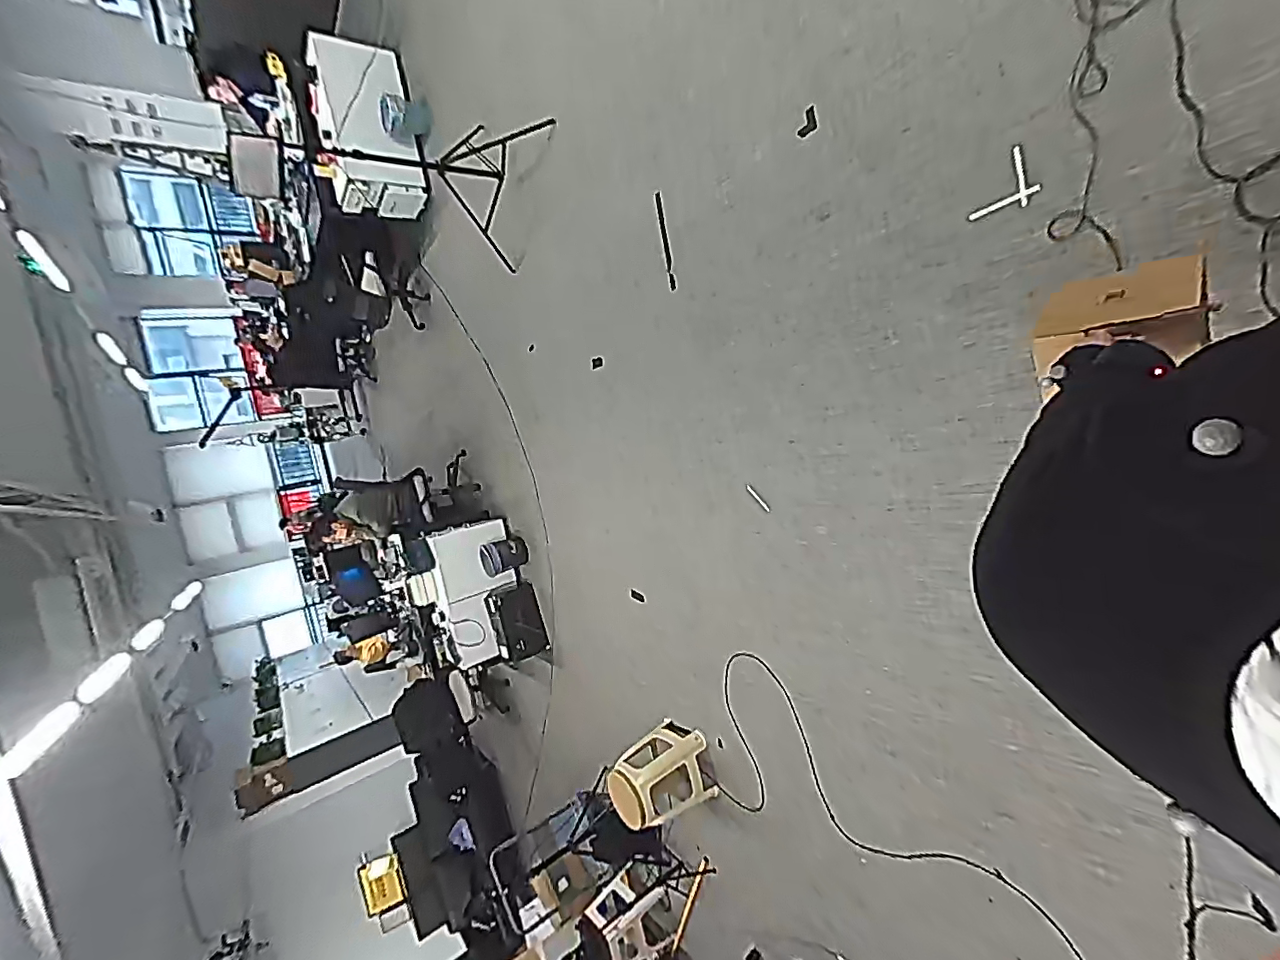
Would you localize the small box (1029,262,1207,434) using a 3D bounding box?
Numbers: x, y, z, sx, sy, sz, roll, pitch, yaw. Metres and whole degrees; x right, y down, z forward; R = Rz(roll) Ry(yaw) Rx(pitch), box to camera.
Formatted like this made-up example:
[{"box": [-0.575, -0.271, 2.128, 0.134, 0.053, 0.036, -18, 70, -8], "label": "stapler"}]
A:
[{"box": [0.679, -0.175, 0.766, 0.168, 0.179, 0.176, -2, 122, 48], "label": "small box"}]
